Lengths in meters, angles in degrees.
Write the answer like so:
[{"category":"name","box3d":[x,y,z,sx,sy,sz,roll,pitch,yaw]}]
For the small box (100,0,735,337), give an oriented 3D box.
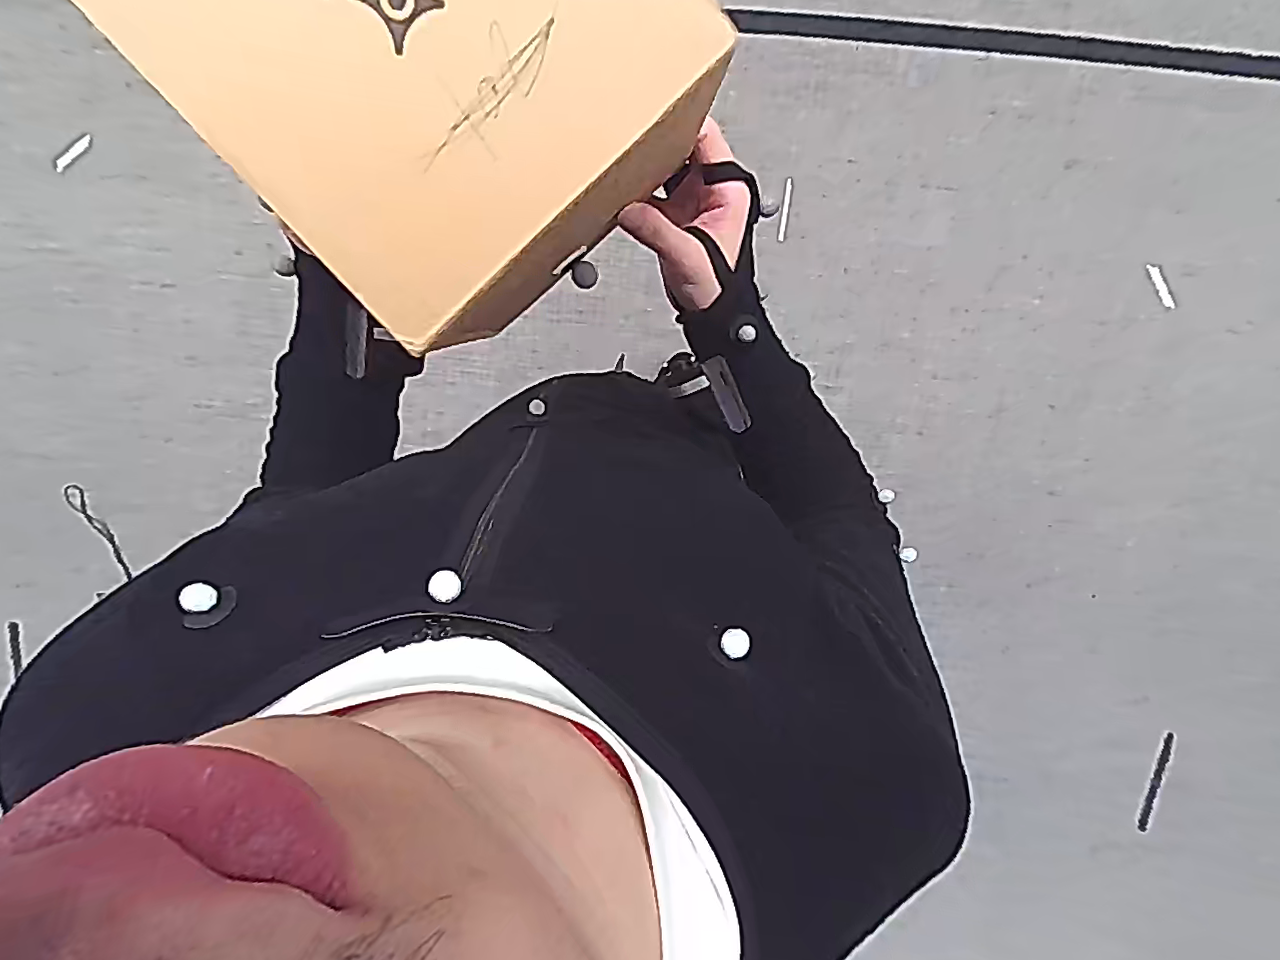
[{"category":"small box","box3d":[-0.083,-0.192,0.267,0.168,0.176,0.179,-40,105,11]}]
